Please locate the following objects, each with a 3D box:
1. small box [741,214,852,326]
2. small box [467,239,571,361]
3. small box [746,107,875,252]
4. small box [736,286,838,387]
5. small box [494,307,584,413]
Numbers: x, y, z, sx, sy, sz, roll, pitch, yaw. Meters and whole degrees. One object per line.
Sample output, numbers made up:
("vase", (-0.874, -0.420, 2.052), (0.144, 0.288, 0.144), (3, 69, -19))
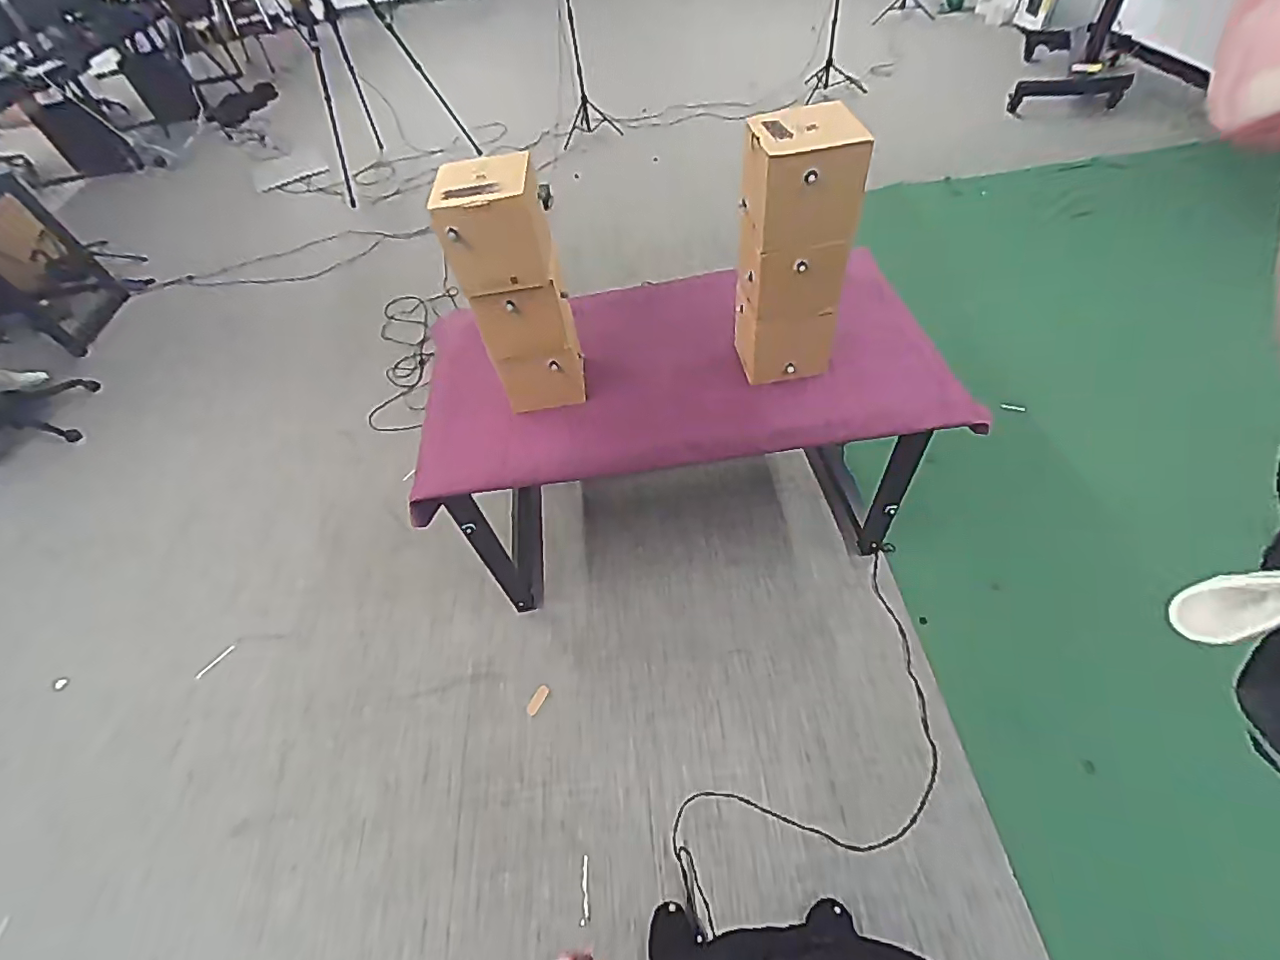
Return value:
("small box", (0.308, -0.435, 1.104), (0.179, 0.176, 0.168), (-8, 53, 2))
("small box", (-0.242, -0.373, 1.133), (0.179, 0.176, 0.168), (-8, 53, 2))
("small box", (0.293, -0.536, 0.975), (0.179, 0.176, 0.168), (-9, 53, 1))
("small box", (0.325, -0.336, 1.232), (0.179, 0.176, 0.168), (-9, 52, 0))
("small box", (-0.226, -0.278, 1.263), (0.179, 0.176, 0.168), (-8, 52, 1))
